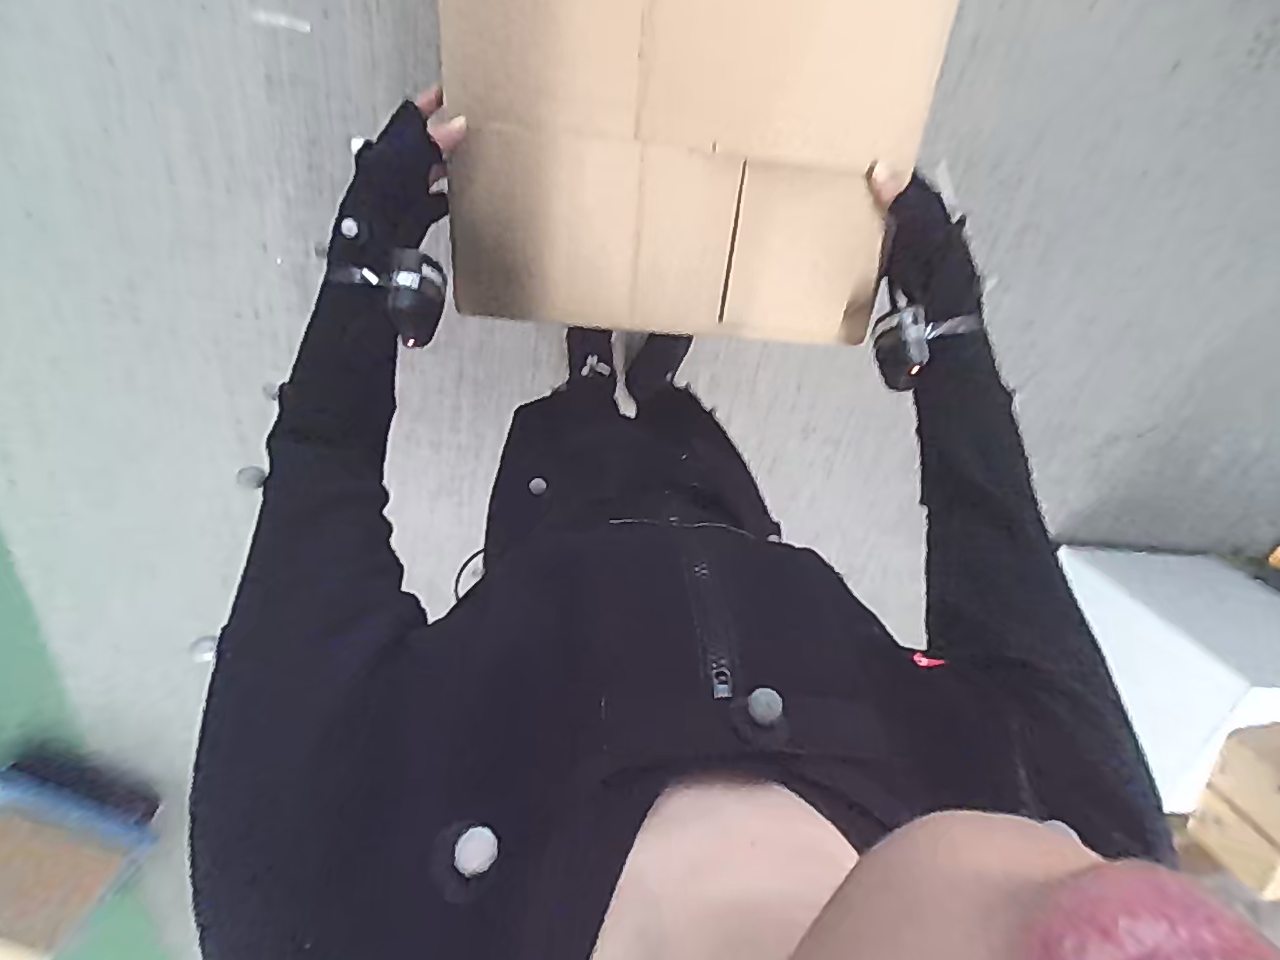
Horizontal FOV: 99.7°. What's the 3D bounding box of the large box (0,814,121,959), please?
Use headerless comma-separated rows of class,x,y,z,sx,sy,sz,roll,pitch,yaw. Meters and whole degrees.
large box,-1.965,1.312,1.653,0.320,0.320,0.408,-42,110,17
